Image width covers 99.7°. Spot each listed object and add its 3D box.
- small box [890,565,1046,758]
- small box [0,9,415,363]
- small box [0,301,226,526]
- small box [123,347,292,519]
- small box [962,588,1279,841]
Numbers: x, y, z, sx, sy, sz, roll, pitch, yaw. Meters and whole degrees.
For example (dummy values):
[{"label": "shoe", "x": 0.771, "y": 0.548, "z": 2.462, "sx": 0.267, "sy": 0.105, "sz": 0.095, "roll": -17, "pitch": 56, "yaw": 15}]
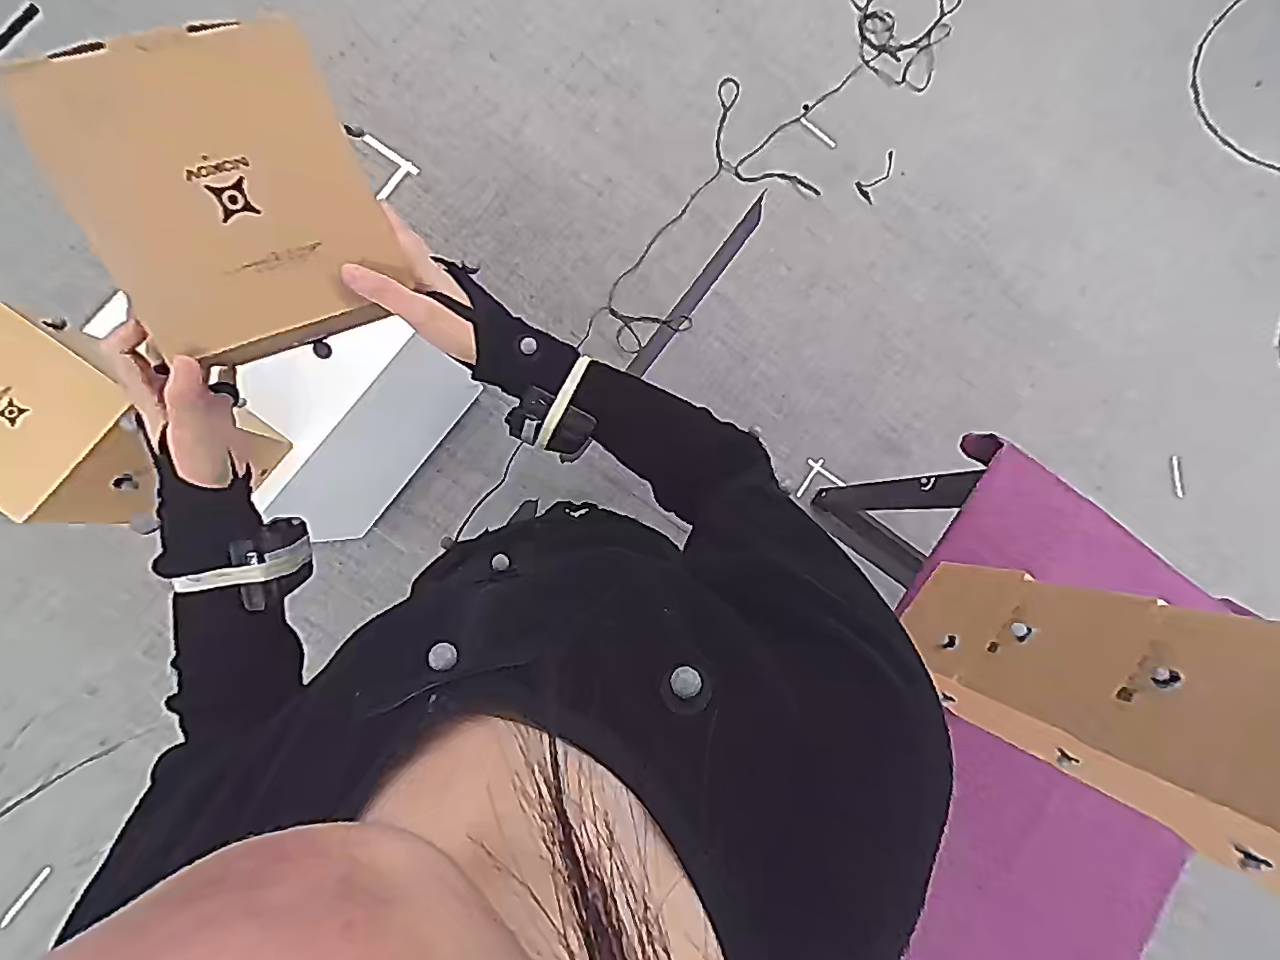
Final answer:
[{"label": "small box", "x": 0.491, "y": 0.241, "z": 0.765, "sx": 0.168, "sy": 0.176, "sz": 0.179, "roll": 40, "pitch": 82, "yaw": -3}, {"label": "small box", "x": -0.289, "y": -0.197, "z": 0.410, "sx": 0.168, "sy": 0.176, "sz": 0.179, "roll": -25, "pitch": 111, "yaw": -15}, {"label": "small box", "x": -0.640, "y": -0.065, "z": 0.619, "sx": 0.179, "sy": 0.176, "sz": 0.168, "roll": 36, "pitch": 82, "yaw": -3}, {"label": "small box", "x": -0.662, "y": -0.053, "z": 0.780, "sx": 0.179, "sy": 0.176, "sz": 0.168, "roll": 37, "pitch": 82, "yaw": -2}, {"label": "small box", "x": 0.517, "y": 0.237, "z": 0.602, "sx": 0.179, "sy": 0.176, "sz": 0.168, "roll": 39, "pitch": 82, "yaw": -2}]
